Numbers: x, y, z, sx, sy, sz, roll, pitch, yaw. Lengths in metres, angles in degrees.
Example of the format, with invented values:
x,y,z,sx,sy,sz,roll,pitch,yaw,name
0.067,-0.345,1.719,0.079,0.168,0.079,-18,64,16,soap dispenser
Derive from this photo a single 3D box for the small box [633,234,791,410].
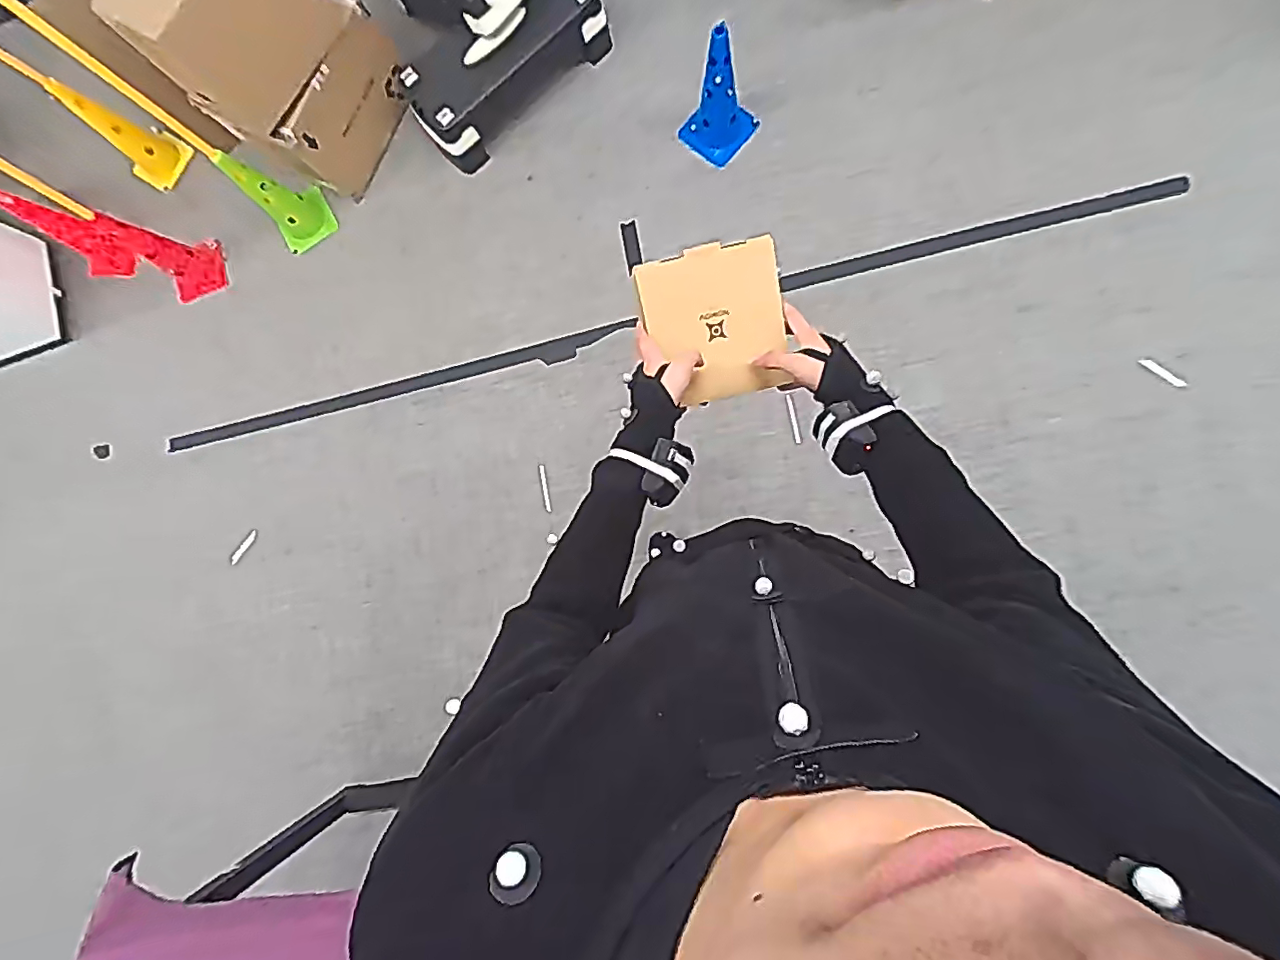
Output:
x,y,z,sx,sy,sz,roll,pitch,yaw,name
0.088,-0.205,0.718,0.168,0.176,0.179,-13,104,2,small box
